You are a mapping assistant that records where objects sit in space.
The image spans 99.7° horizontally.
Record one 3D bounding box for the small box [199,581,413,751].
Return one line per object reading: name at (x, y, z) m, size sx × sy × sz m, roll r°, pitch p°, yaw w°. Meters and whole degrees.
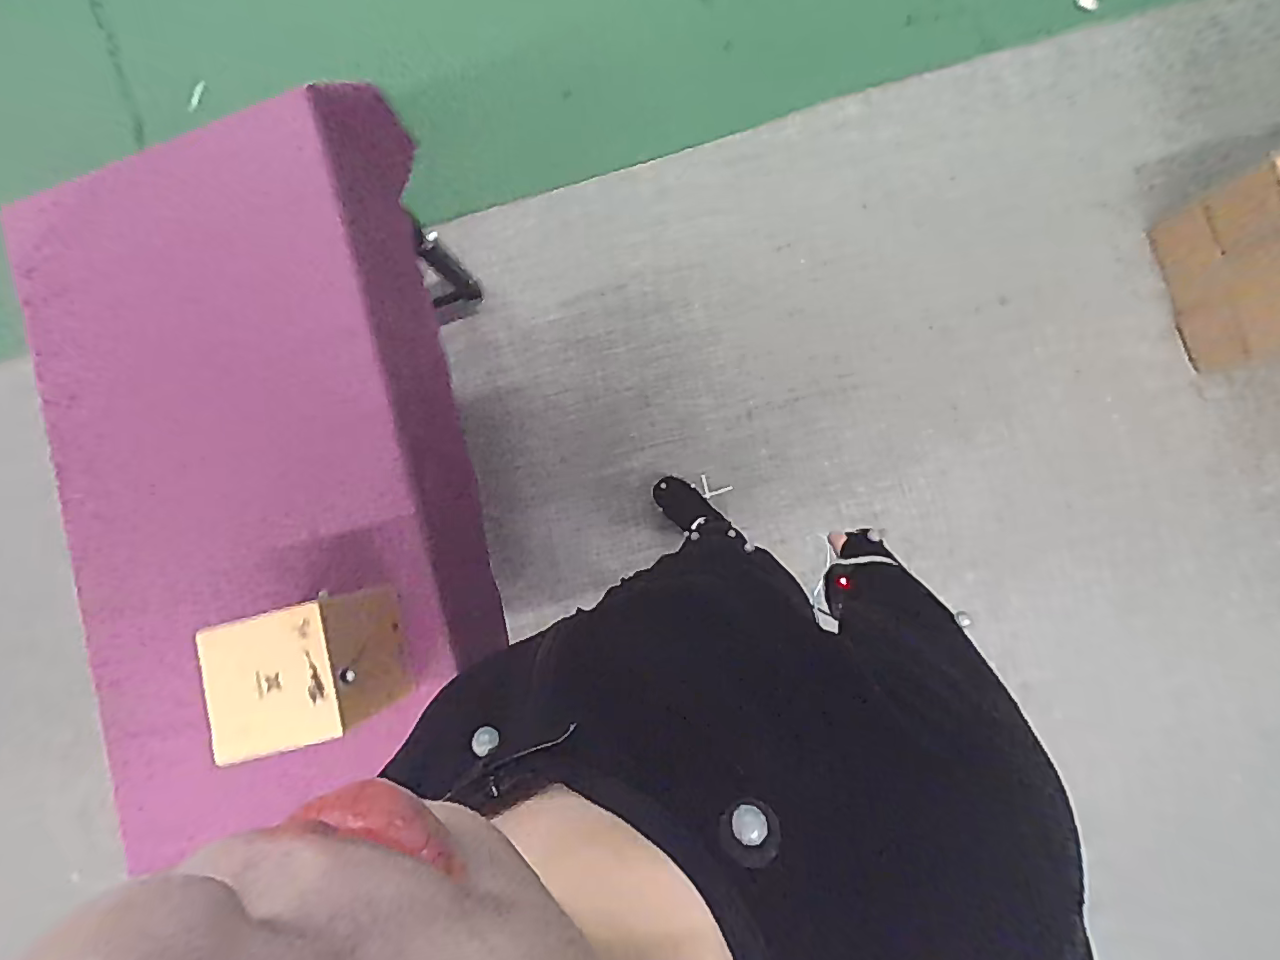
small box at (-0.451, 0.246, 0.750) m, size 0.179 × 0.176 × 0.168 m, roll -15°, pitch 85°, yaw 7°
